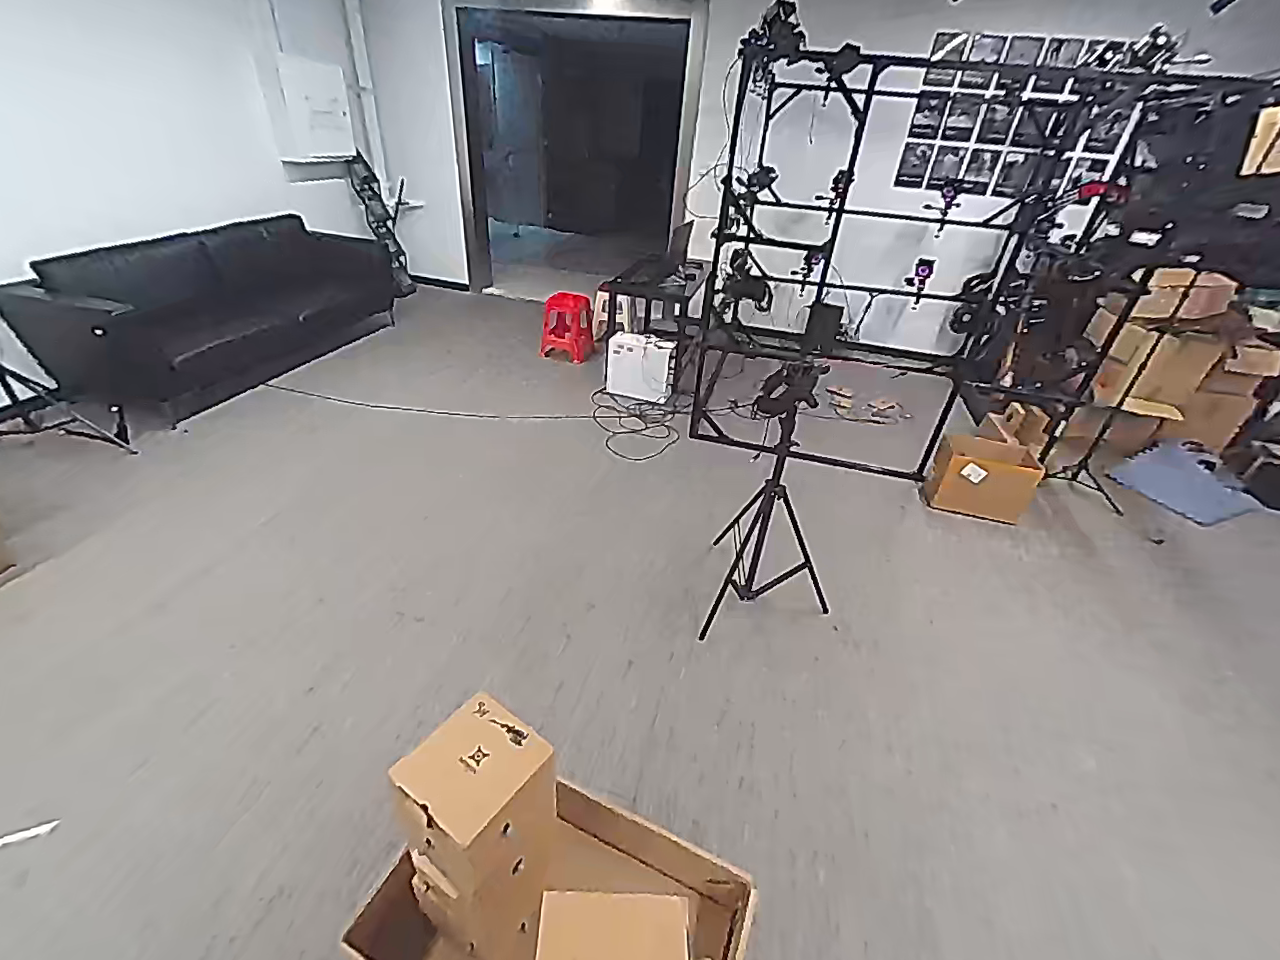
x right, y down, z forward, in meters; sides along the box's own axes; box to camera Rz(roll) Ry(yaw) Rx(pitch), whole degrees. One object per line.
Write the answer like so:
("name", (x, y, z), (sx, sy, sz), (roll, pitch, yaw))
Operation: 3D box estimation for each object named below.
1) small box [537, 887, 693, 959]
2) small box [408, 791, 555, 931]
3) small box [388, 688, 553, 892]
("small box", (-0.034, 0.608, 0.631), (0.179, 0.176, 0.168), (4, 34, -2))
("small box", (-0.258, 0.604, 0.918), (0.168, 0.176, 0.179), (22, 35, 24))
("small box", (-0.246, 0.469, 0.824), (0.168, 0.176, 0.179), (25, 38, 28))
